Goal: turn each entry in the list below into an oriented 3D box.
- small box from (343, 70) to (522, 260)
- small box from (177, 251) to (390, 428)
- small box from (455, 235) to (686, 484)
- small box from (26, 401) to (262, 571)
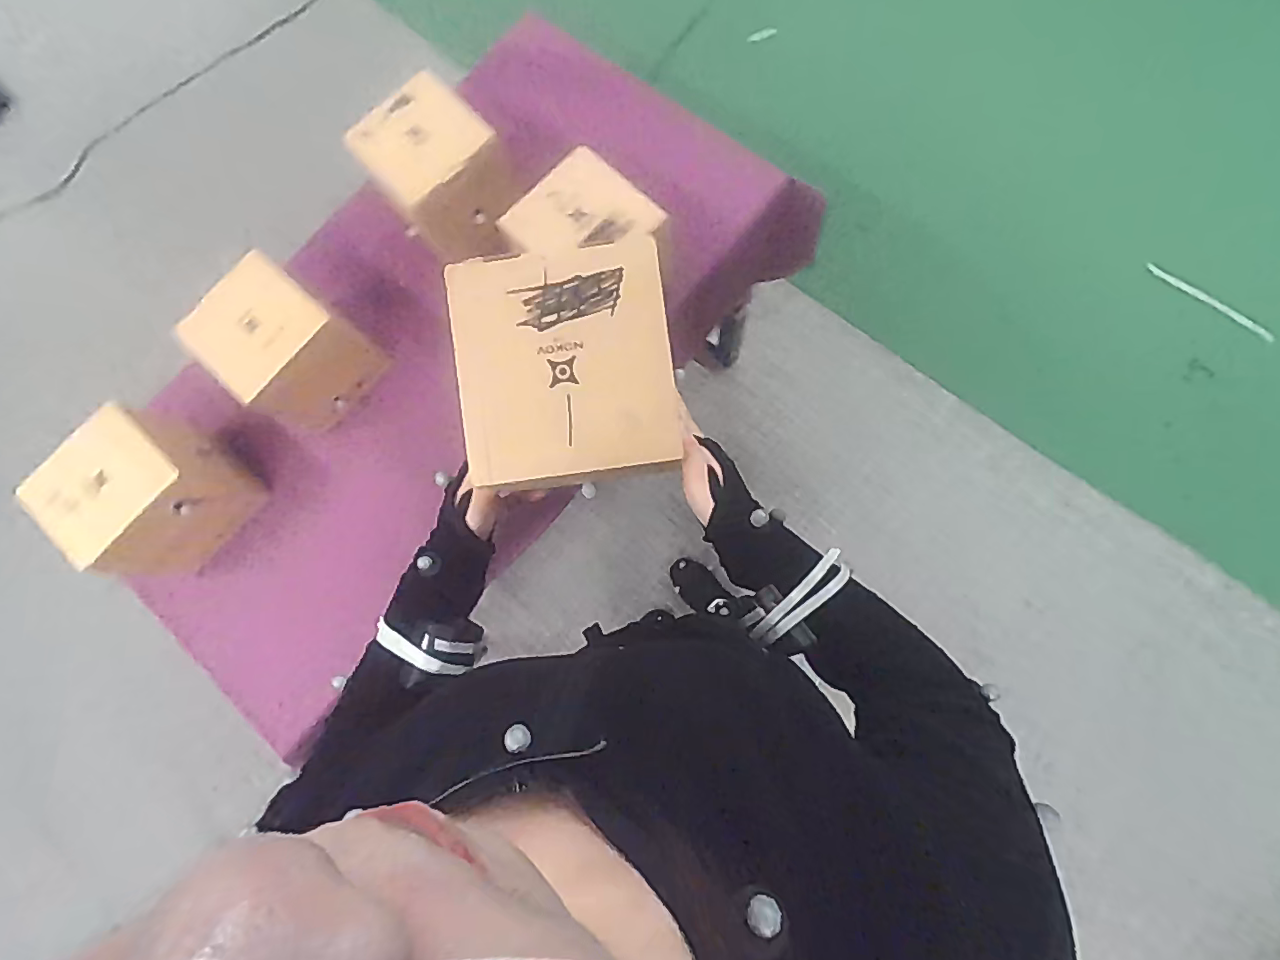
[{"bbox_3d":[-0.318,-0.486,0.867,0.168,0.176,0.179,-43,79,-3],"label":"small box"},{"bbox_3d":[-0.536,-0.204,0.837,0.179,0.176,0.168,41,86,11],"label":"small box"},{"bbox_3d":[-0.052,-0.091,0.491,0.168,0.176,0.179,-6,89,3],"label":"small box"},{"bbox_3d":[-0.717,0.018,0.810,0.168,0.176,0.179,40,85,12],"label":"small box"}]
